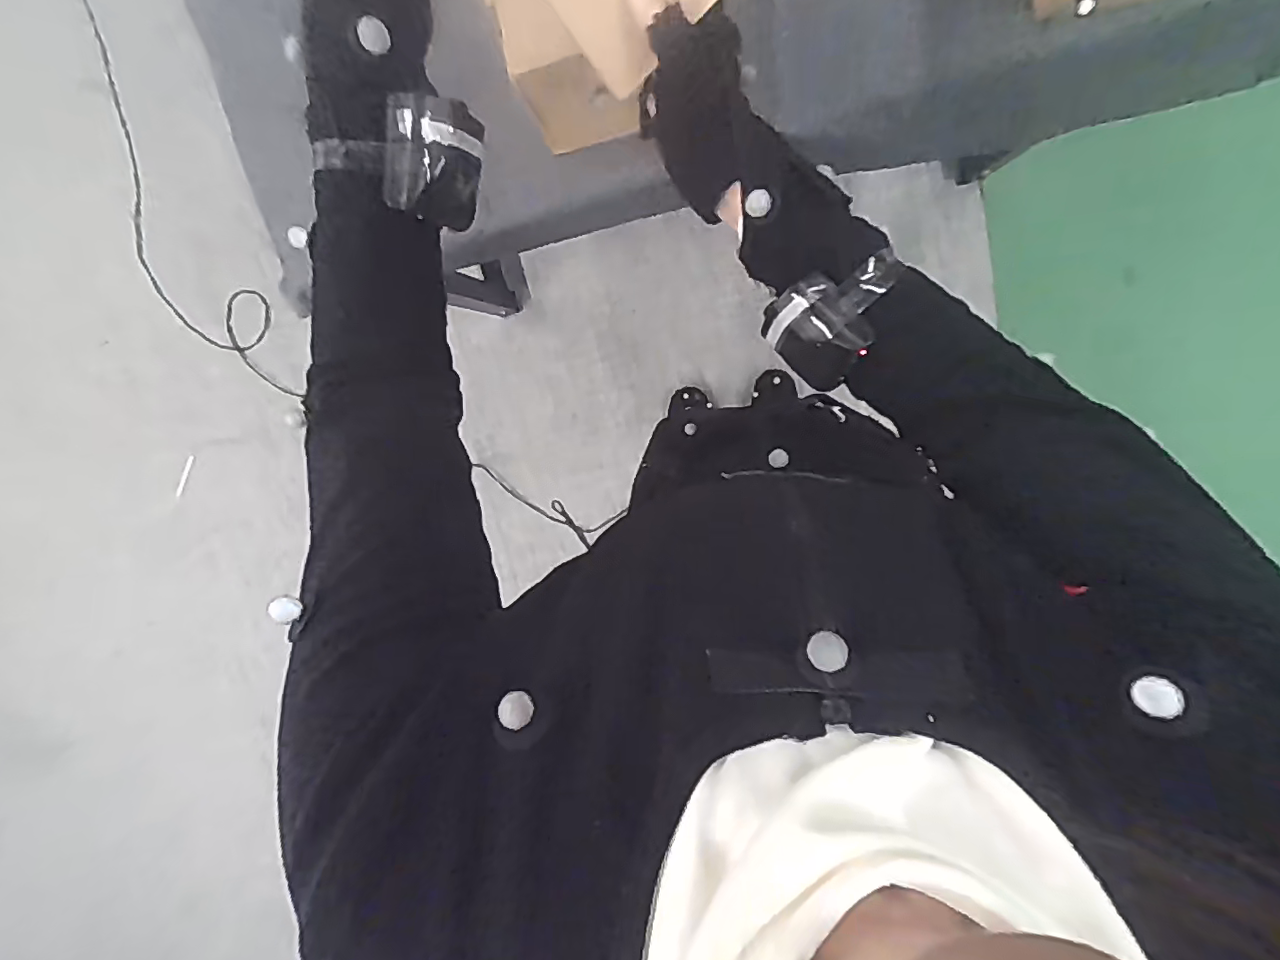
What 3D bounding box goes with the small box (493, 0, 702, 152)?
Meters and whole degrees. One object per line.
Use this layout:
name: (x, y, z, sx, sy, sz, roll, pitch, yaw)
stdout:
small box: (-0.037, -0.459, 0.534, 0.179, 0.176, 0.168, -11, 98, 8)
